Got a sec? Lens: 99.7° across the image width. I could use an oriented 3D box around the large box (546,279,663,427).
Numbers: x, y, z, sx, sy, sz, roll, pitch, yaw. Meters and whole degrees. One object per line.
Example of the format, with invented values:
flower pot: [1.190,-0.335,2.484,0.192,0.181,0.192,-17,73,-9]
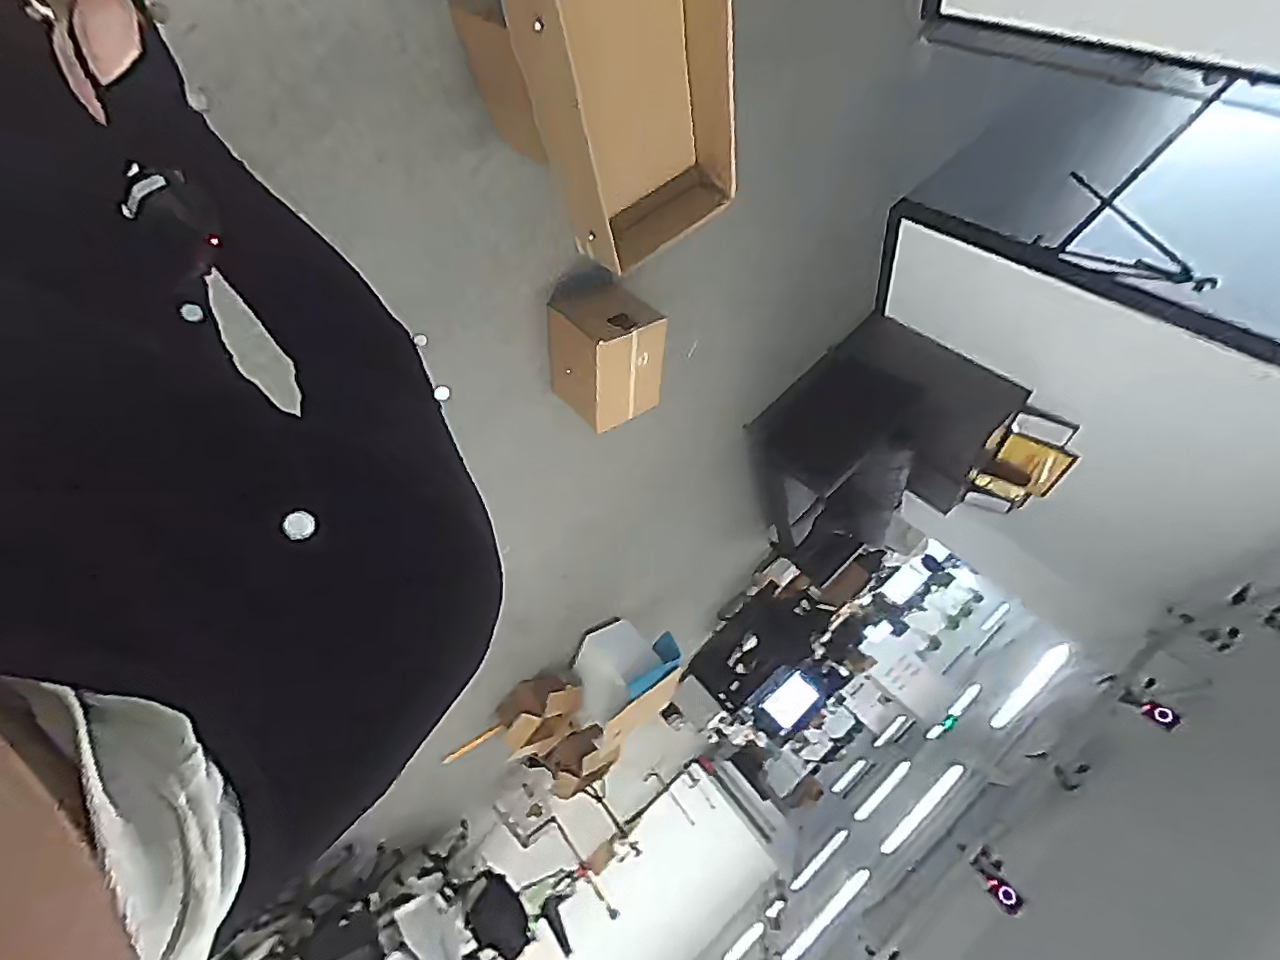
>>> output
large box: [-0.138,-0.484,2.059,0.320,0.320,0.408,-30,146,-28]
